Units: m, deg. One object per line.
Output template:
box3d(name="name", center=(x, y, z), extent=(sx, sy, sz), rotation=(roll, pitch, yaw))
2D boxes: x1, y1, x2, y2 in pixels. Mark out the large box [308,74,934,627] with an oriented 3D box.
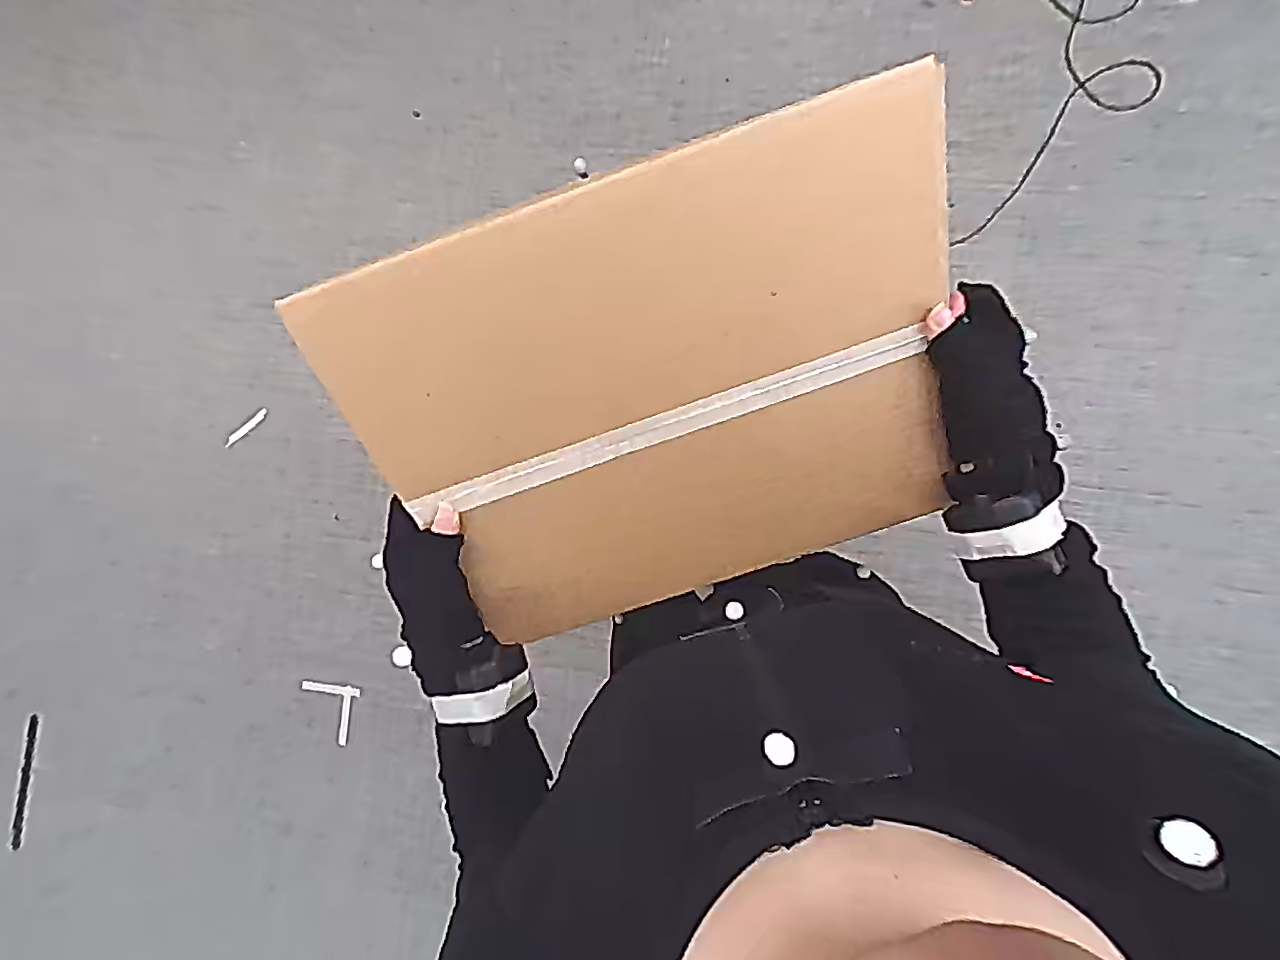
box3d(name="large box", center=(0.005, -0.126, 0.529), extent=(0.408, 0.320, 0.320), rotation=(-19, 120, 4))
